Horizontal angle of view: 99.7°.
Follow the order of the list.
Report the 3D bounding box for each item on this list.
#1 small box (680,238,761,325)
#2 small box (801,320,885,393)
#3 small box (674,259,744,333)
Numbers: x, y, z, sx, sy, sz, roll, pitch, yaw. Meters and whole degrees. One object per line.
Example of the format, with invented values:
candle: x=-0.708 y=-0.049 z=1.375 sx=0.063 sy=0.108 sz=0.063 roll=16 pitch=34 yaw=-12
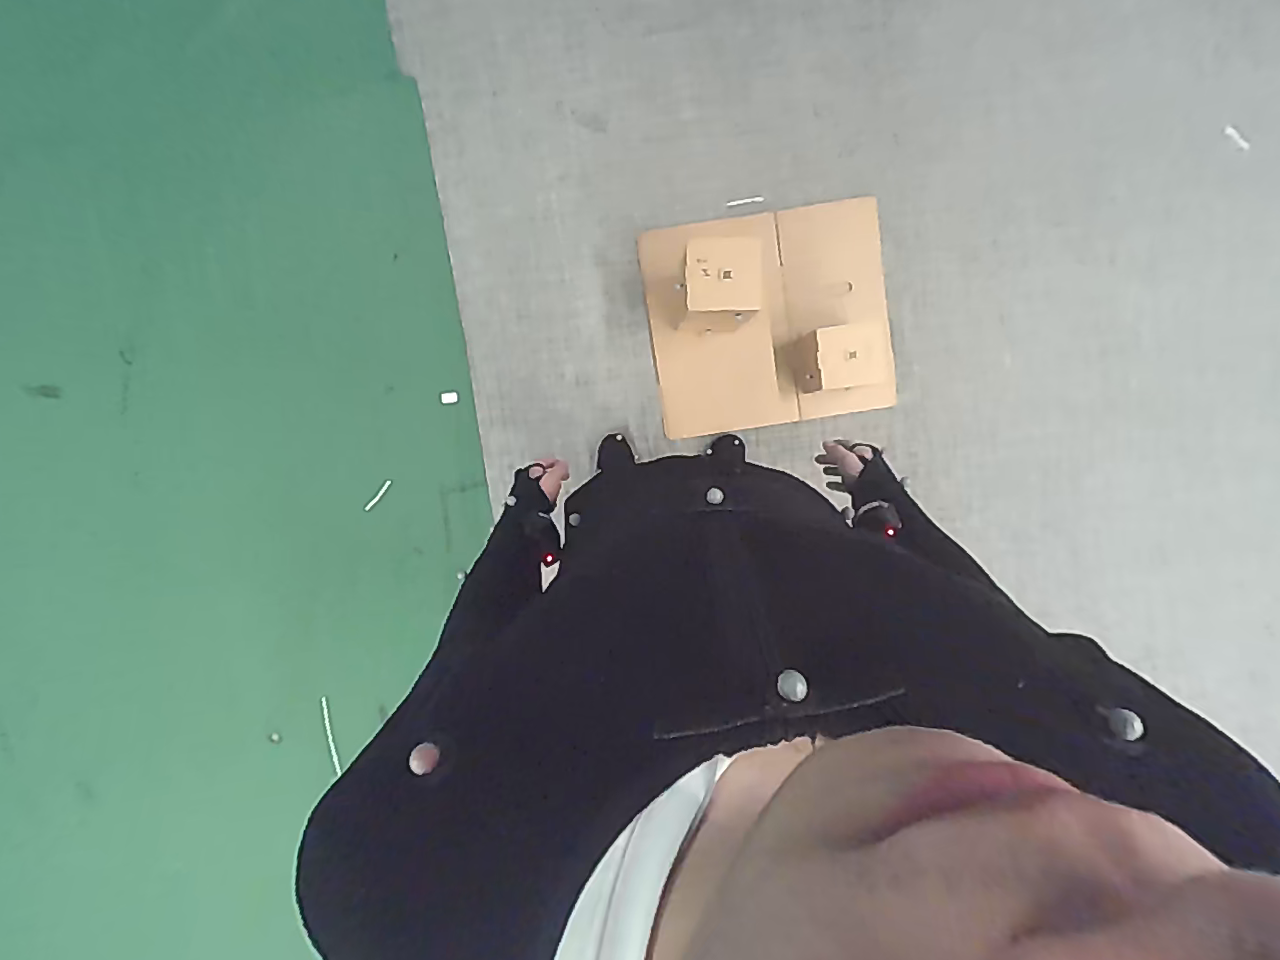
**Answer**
small box: x=0.193 y=-0.482 z=1.330 sx=0.179 sy=0.176 sz=0.168 roll=-1 pitch=95 yaw=0
small box: x=0.559 y=-0.340 z=1.511 sx=0.179 sy=0.176 sz=0.168 roll=-8 pitch=96 yaw=1
small box: x=0.189 y=-0.504 z=1.495 sx=0.179 sy=0.176 sz=0.168 roll=-1 pitch=95 yaw=0
